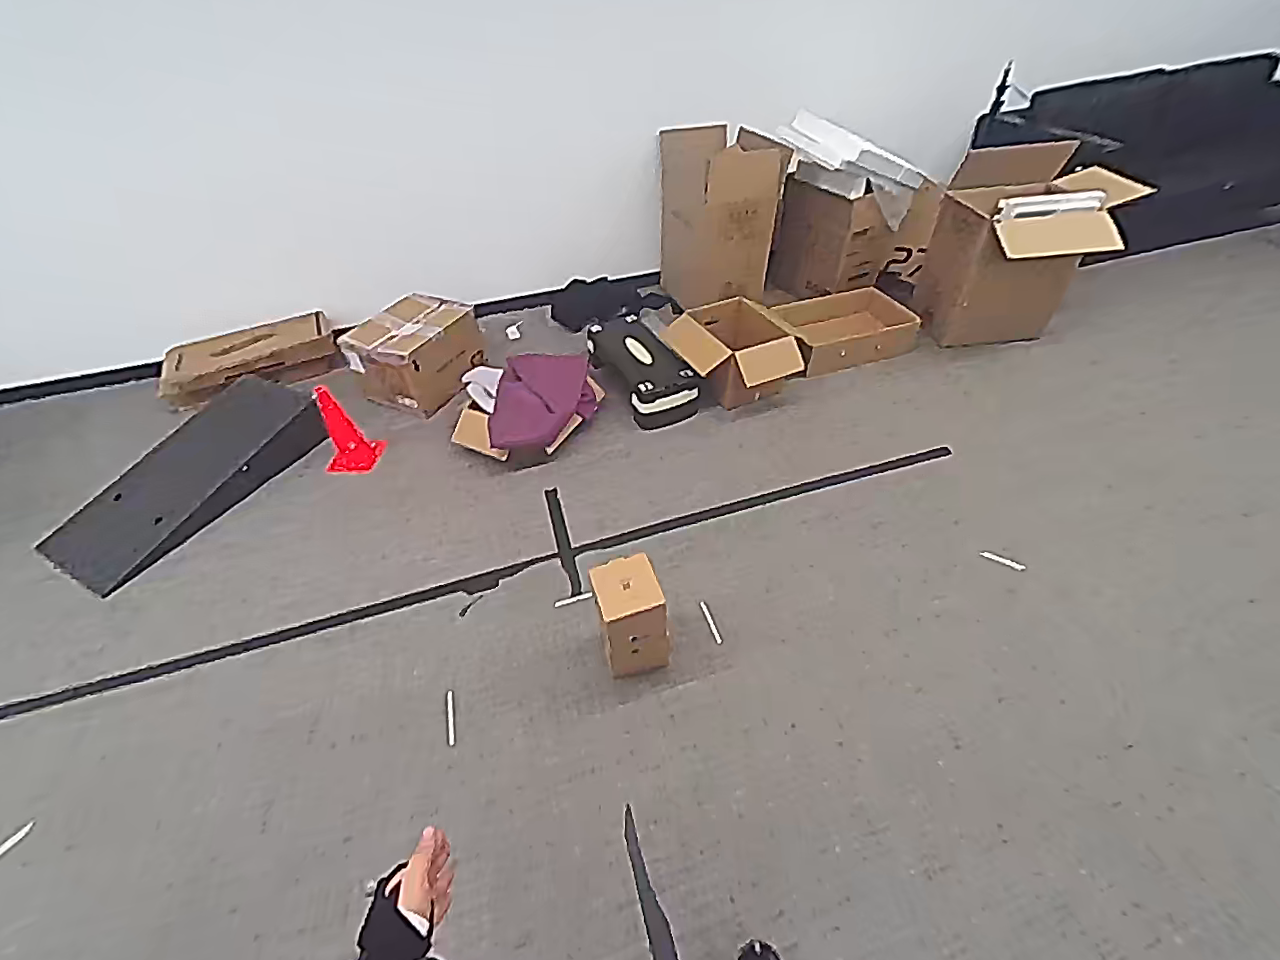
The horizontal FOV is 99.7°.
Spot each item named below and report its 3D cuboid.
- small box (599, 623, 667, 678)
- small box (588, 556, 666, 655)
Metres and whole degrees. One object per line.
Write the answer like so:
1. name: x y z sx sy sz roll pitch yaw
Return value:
1. small box: -0.022 0.456 1.582 0.179 0.176 0.168 -11 45 -9
2. small box: -0.034 0.341 1.469 0.168 0.176 0.179 -16 47 -11
